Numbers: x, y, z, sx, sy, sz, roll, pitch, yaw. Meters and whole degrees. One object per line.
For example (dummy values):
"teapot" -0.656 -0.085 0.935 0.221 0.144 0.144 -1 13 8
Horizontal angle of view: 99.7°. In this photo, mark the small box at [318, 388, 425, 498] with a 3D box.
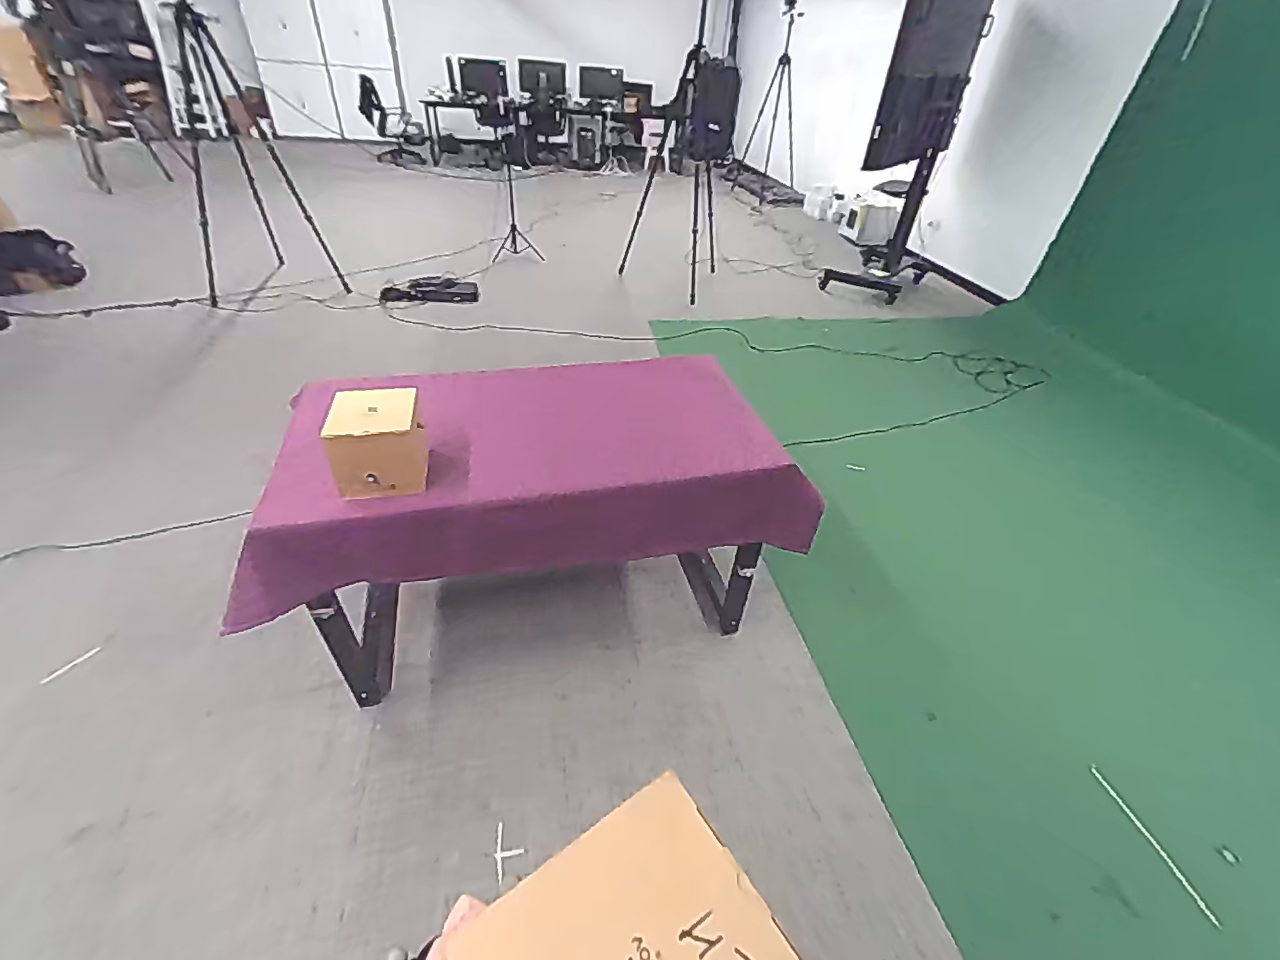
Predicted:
"small box" -0.571 -0.082 1.175 0.168 0.176 0.179 -6 41 -13
